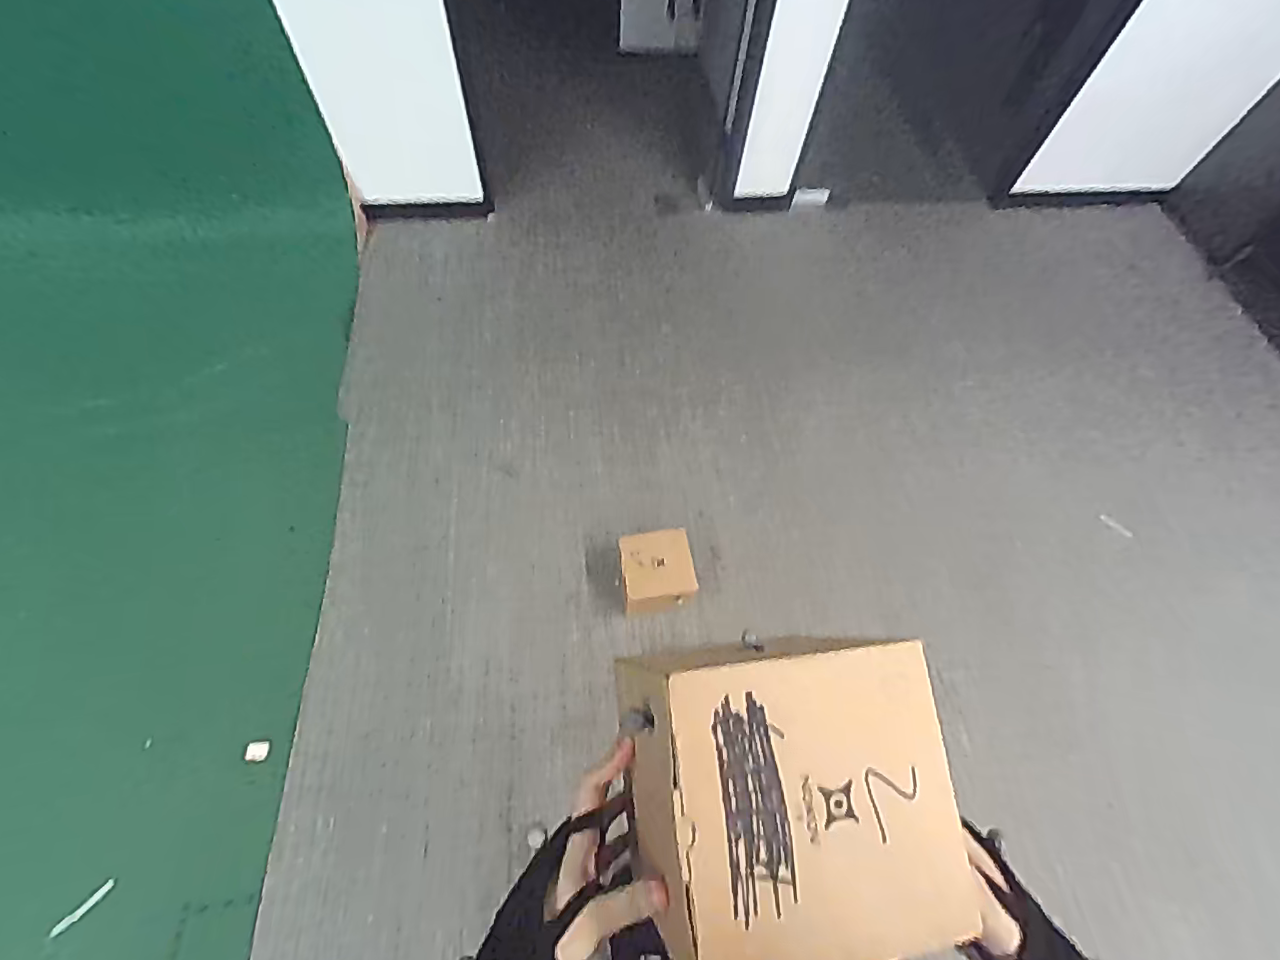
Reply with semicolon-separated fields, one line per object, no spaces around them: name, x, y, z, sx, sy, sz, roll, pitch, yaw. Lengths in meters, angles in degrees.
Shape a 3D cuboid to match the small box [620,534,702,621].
small box;0.048;0.254;1.393;0.179;0.176;0.168;-7;62;-7
